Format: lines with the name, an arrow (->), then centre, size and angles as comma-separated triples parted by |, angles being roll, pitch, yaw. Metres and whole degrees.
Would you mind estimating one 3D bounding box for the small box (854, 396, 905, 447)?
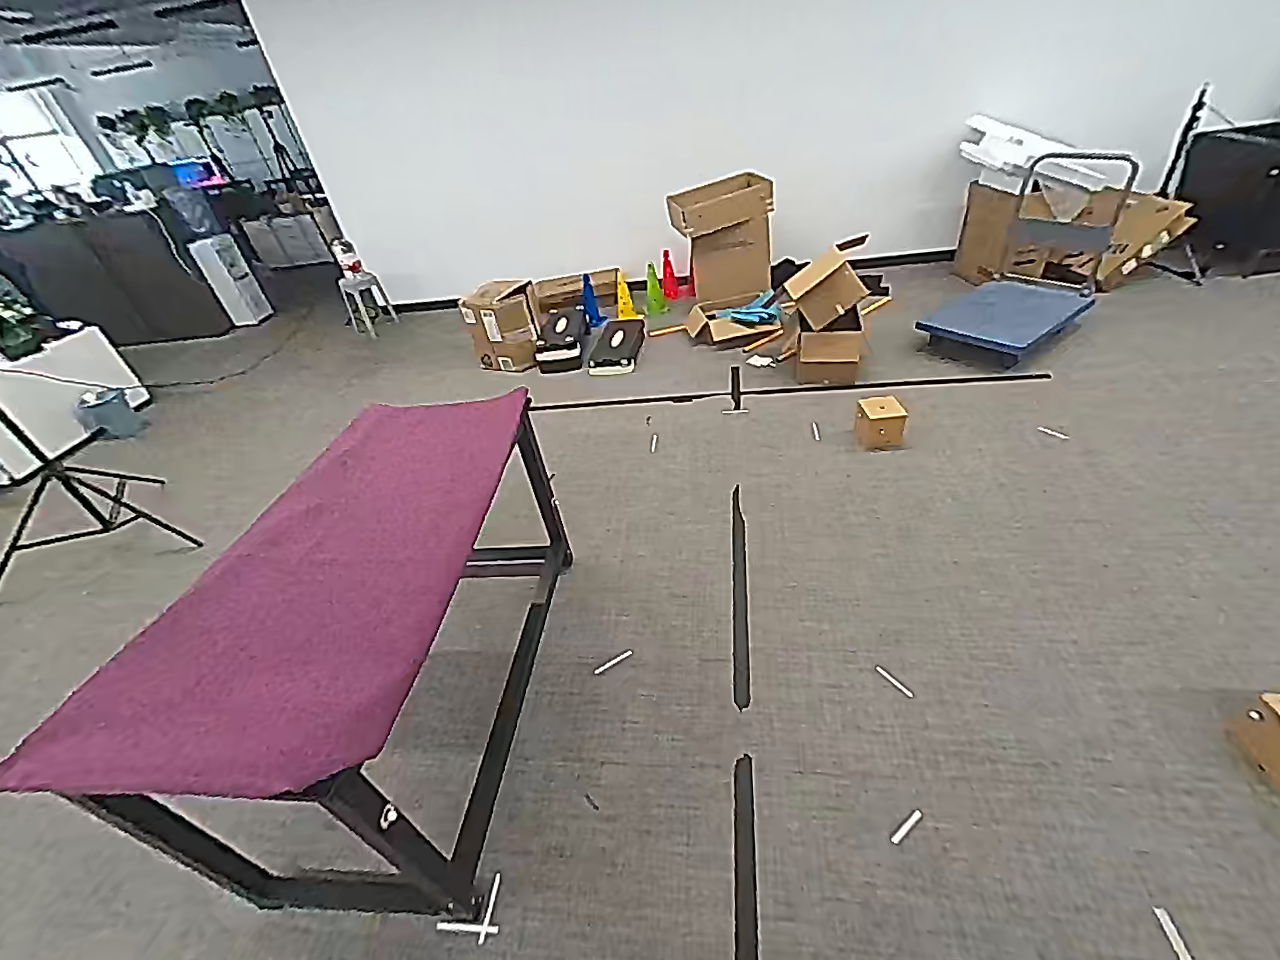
small box -> 1.111, -0.266, 2.517 | 0.168, 0.176, 0.179 | -7, 37, 4
